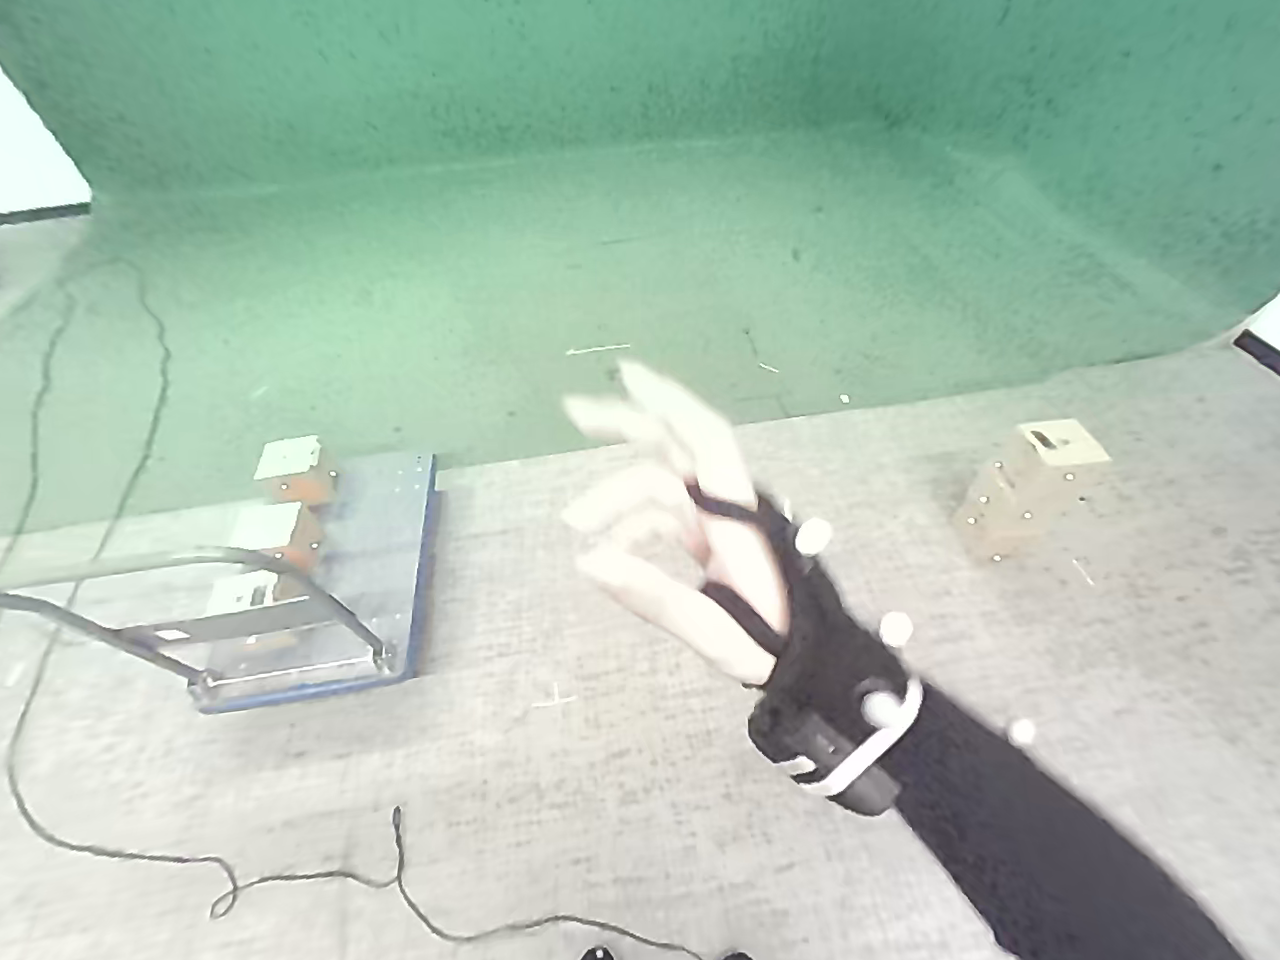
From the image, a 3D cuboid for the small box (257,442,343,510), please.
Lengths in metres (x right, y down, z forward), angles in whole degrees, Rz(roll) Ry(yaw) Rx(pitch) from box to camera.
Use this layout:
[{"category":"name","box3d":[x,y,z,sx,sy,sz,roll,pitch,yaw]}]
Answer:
[{"category":"small box","box3d":[-1.160,-0.005,1.857,0.179,0.176,0.168,-9,51,-4]}]

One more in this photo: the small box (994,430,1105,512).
[{"category":"small box","box3d":[1.169,-0.023,1.568,0.179,0.176,0.168,-6,50,-1]}]

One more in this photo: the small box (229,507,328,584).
[{"category":"small box","box3d":[-1.114,0.208,1.682,0.179,0.176,0.168,-7,50,-4]}]

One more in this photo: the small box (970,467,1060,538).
[{"category":"small box","box3d":[1.168,0.067,1.687,0.179,0.176,0.168,-6,50,1]}]

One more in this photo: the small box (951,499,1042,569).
[{"category":"small box","box3d":[1.181,0.175,1.808,0.168,0.176,0.179,-5,50,0]}]
